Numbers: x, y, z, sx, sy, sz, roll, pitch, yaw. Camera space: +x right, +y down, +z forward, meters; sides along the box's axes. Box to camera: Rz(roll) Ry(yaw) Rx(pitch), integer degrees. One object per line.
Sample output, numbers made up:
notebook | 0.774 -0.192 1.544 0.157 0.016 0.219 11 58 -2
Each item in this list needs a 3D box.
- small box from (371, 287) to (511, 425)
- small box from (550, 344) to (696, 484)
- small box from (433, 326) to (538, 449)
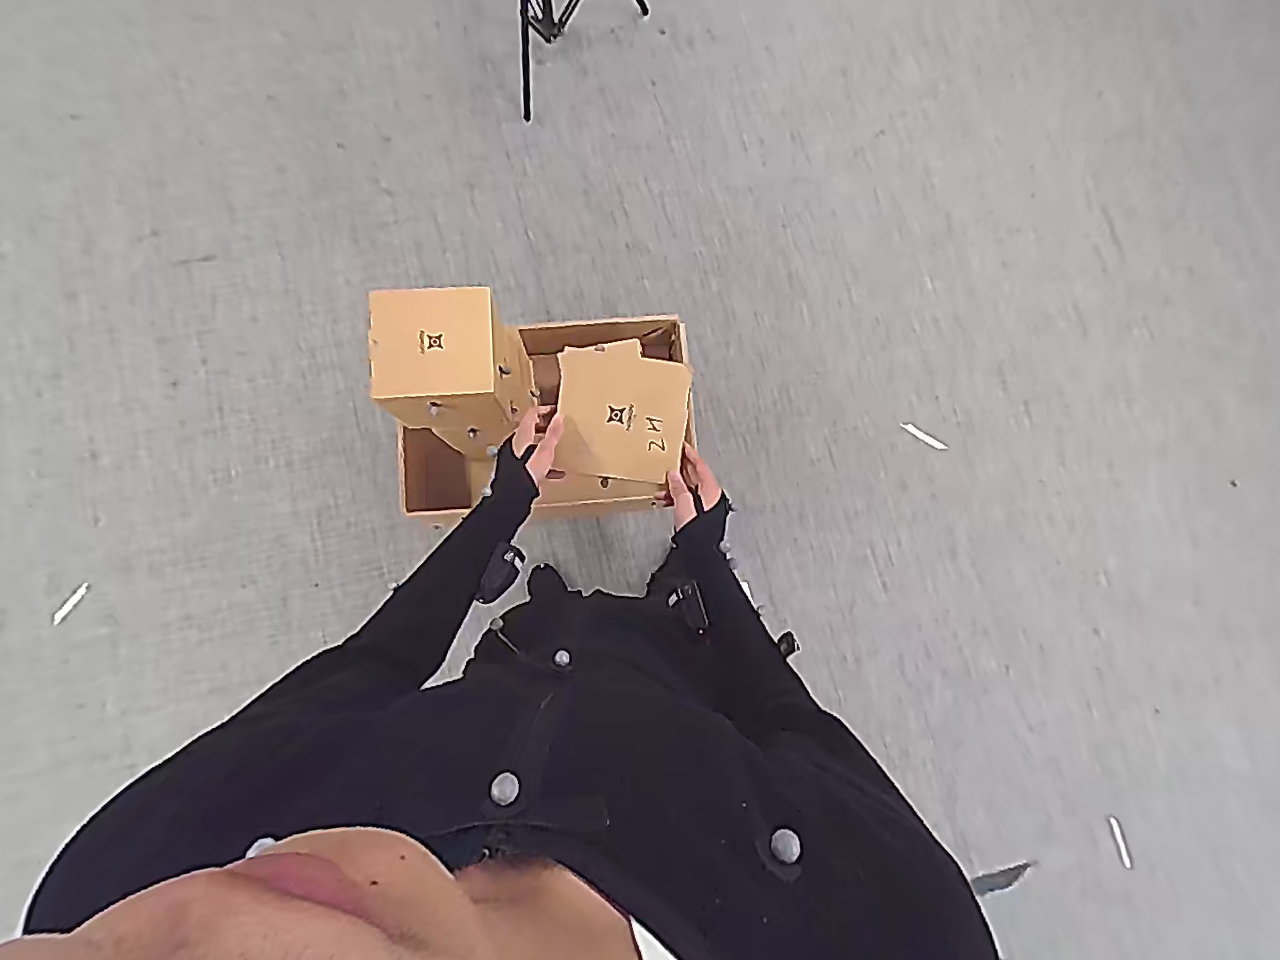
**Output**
small box | -0.302 -0.188 0.854 0.179 0.176 0.168 -4 82 -5
small box | -0.029 -0.088 0.794 0.179 0.176 0.168 8 91 -6
small box | -0.289 -0.168 1.018 0.168 0.176 0.179 -7 82 -5
